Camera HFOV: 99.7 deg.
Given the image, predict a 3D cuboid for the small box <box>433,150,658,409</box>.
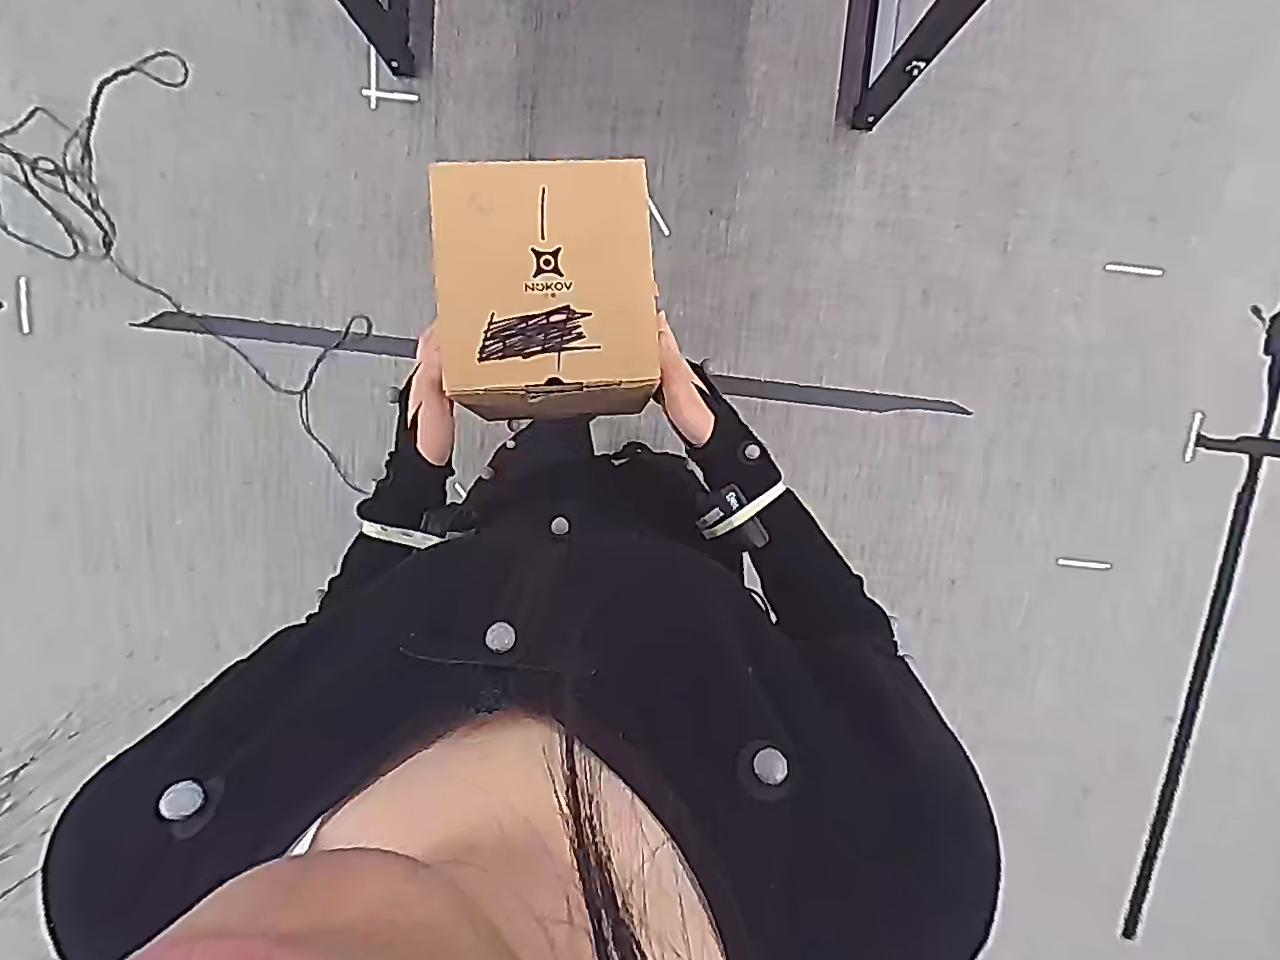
[{"bbox_3d":[-0.075,-0.161,0.487,0.168,0.176,0.179,-3,88,-5],"label":"small box"}]
